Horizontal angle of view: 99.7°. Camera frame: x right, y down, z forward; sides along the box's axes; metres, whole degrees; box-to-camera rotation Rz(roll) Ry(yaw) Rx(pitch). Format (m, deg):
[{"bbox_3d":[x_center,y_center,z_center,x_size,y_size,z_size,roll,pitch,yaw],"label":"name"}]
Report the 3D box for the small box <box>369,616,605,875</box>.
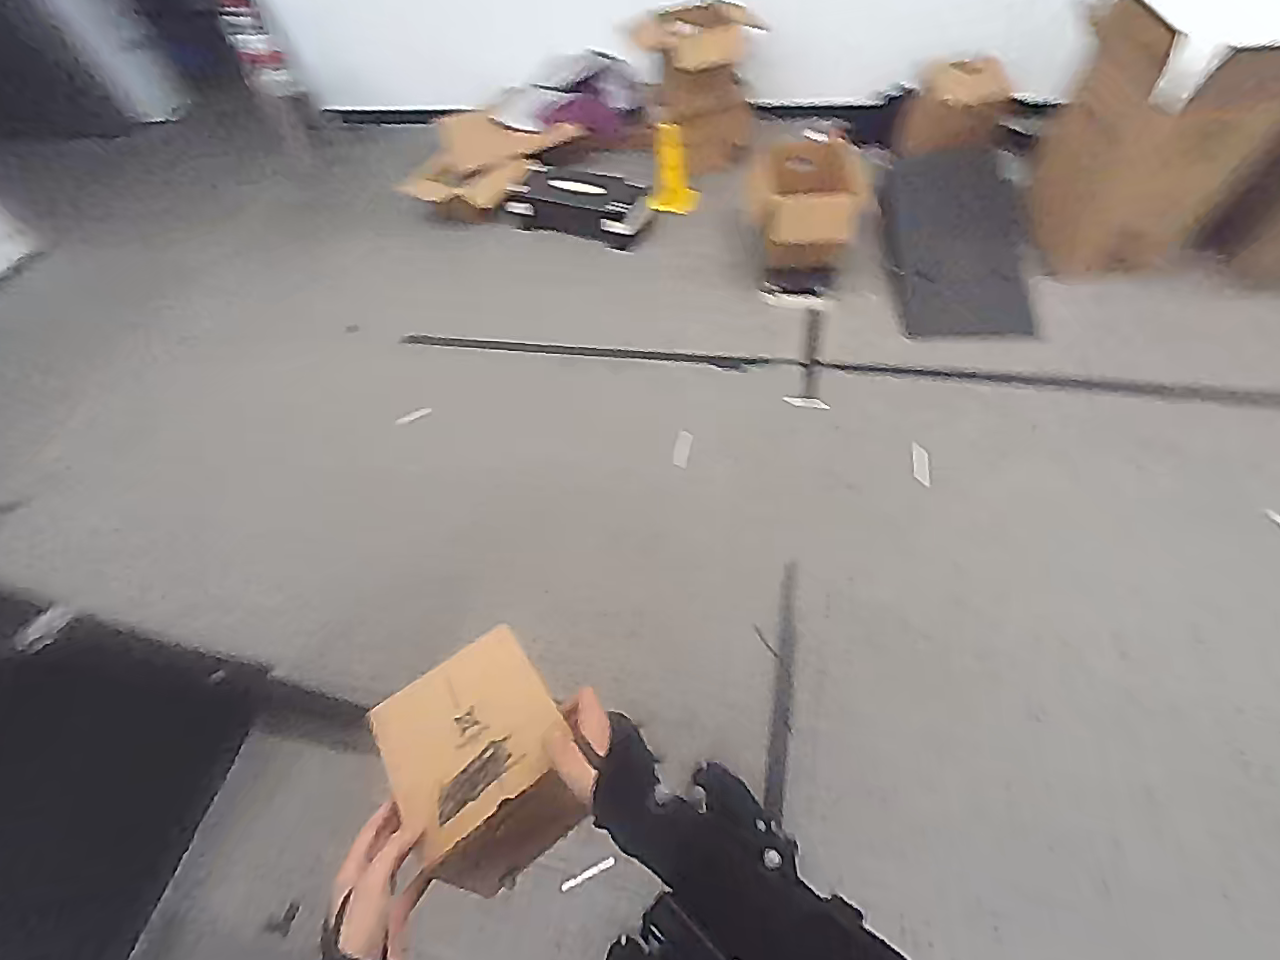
[{"bbox_3d":[-0.158,0.293,0.593,0.168,0.176,0.179,-32,48,-18],"label":"small box"}]
